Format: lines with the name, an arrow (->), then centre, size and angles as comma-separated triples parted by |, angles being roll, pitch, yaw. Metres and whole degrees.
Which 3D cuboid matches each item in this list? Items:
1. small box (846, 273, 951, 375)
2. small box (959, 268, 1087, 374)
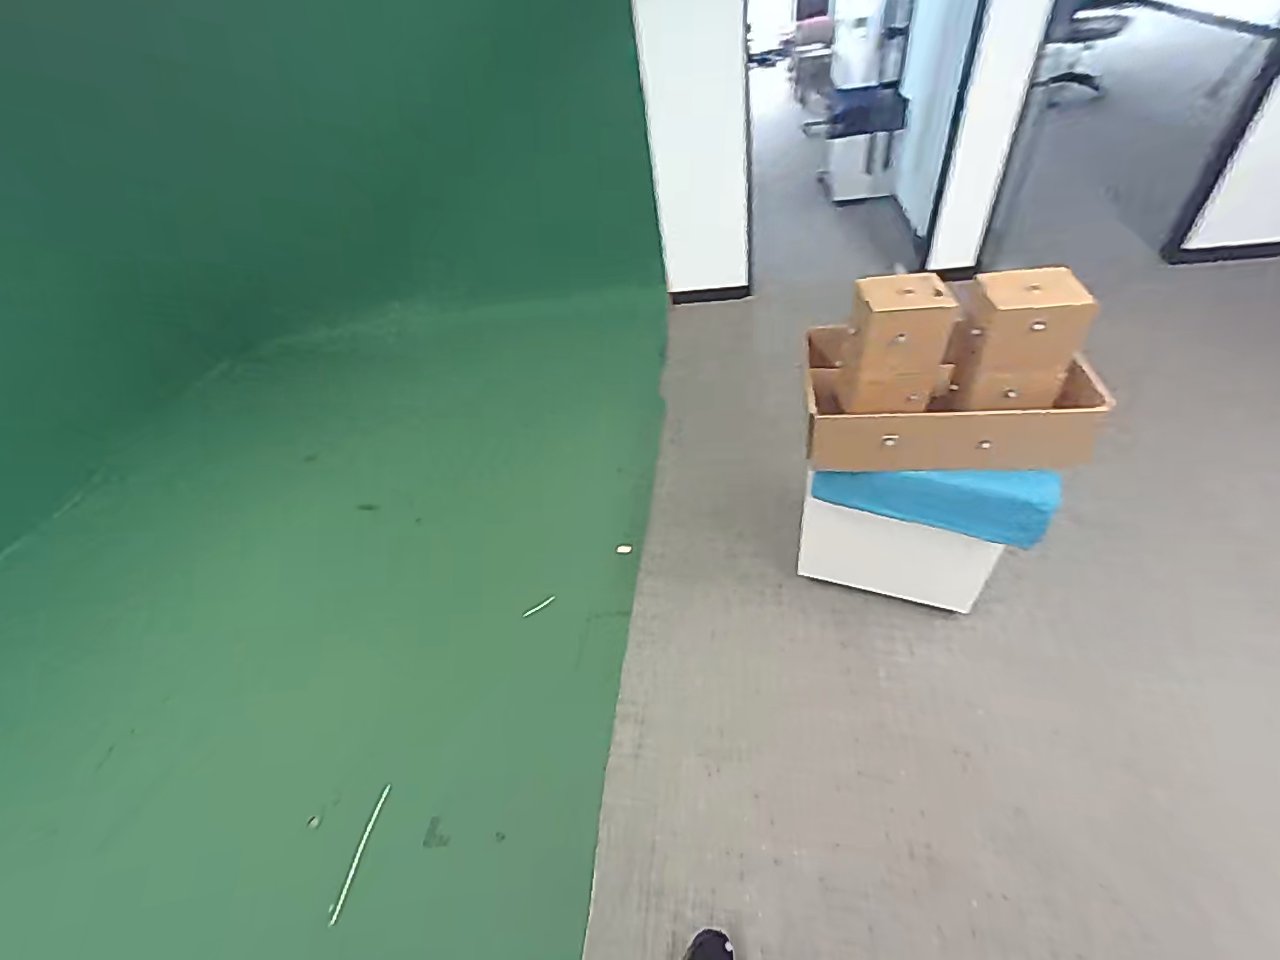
small box -> 0.587, -0.359, 1.260 | 0.179, 0.176, 0.168 | -3, 45, 8
small box -> 0.828, -0.347, 1.196 | 0.179, 0.176, 0.168 | 0, 45, 13
